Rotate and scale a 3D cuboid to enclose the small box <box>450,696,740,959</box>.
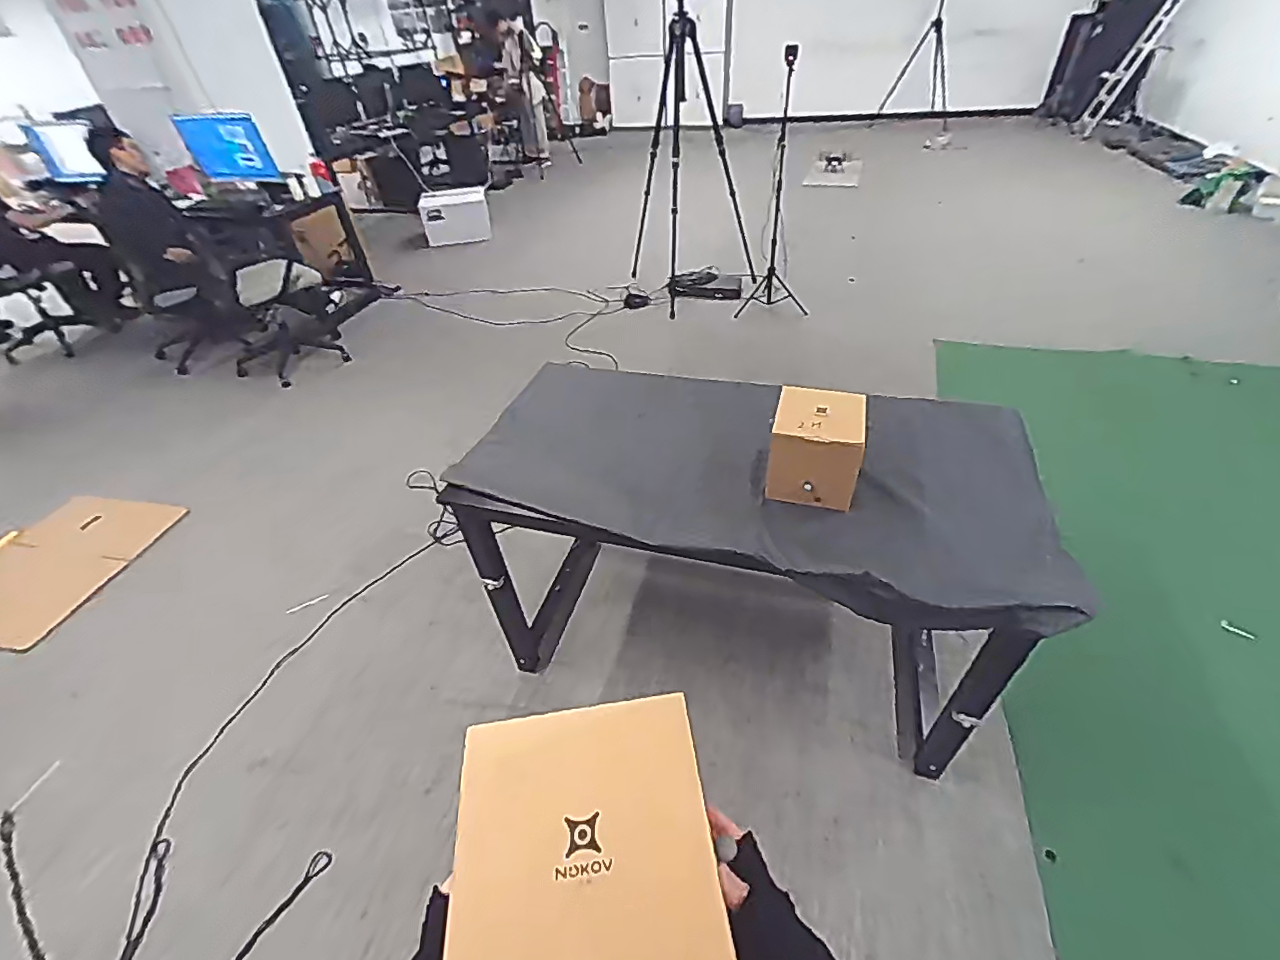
[{"bbox_3d":[-0.031,0.289,0.401,0.168,0.176,0.179,-7,45,-4],"label":"small box"}]

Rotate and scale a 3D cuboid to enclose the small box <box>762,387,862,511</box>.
[{"bbox_3d":[0.347,-0.065,1.101,0.168,0.176,0.179,10,43,15],"label":"small box"}]
